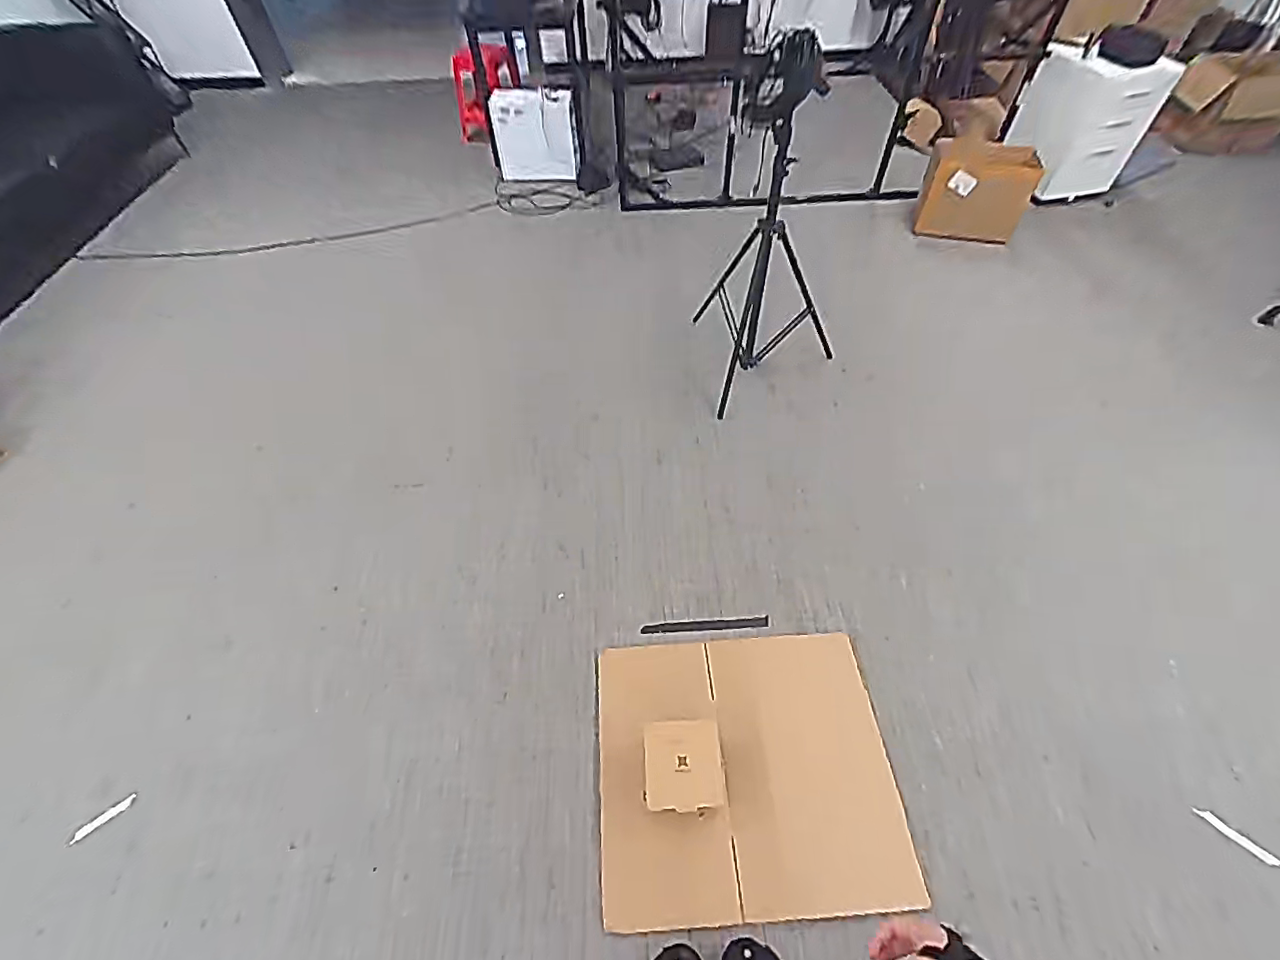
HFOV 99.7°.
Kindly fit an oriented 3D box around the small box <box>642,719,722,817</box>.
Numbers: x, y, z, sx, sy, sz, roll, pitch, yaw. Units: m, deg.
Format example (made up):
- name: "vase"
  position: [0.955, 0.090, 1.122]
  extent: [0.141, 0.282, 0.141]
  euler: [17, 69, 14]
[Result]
- name: "small box"
  position: [0.090, 0.660, 1.233]
  extent: [0.168, 0.176, 0.179]
  euler: [-2, 52, -2]
